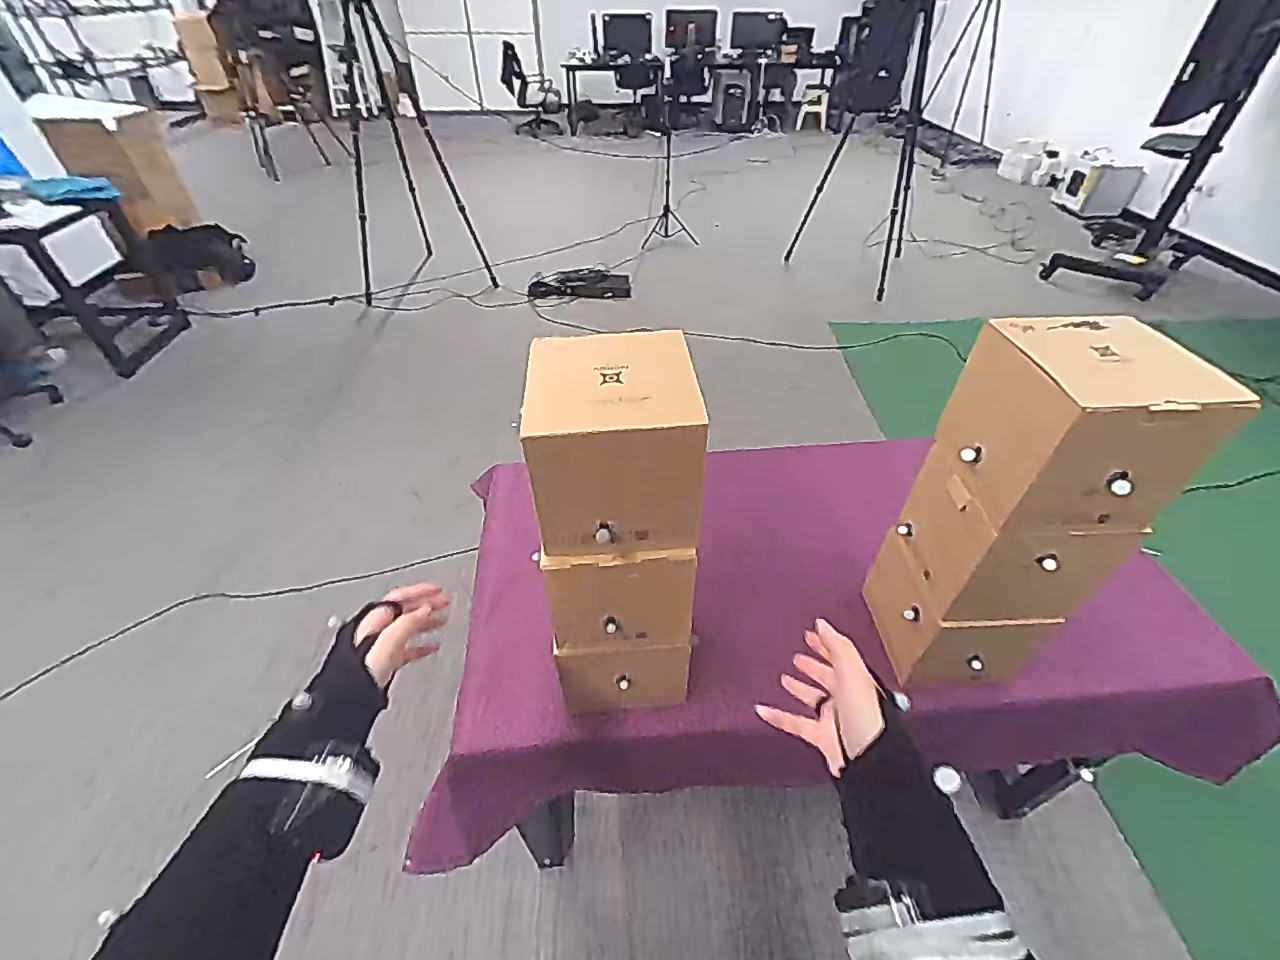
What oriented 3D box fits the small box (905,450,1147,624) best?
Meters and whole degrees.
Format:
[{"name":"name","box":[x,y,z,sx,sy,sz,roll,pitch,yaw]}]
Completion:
[{"name":"small box","box":[0.471,0.074,0.703,0.179,0.176,0.168,0,43,-2]}]

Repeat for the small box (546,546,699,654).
[{"name":"small box","box":[-0.025,0.095,0.682,0.168,0.176,0.179,-3,43,-4]}]

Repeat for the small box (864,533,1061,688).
[{"name":"small box","box":[0.463,0.198,0.812,0.168,0.176,0.179,-1,42,-2]}]

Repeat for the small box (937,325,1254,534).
[{"name":"small box","box":[0.469,-0.053,0.598,0.168,0.176,0.179,-1,43,-1]}]

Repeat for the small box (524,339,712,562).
[{"name":"small box","box":[-0.024,-0.033,0.580,0.168,0.176,0.179,-3,43,-3]}]
